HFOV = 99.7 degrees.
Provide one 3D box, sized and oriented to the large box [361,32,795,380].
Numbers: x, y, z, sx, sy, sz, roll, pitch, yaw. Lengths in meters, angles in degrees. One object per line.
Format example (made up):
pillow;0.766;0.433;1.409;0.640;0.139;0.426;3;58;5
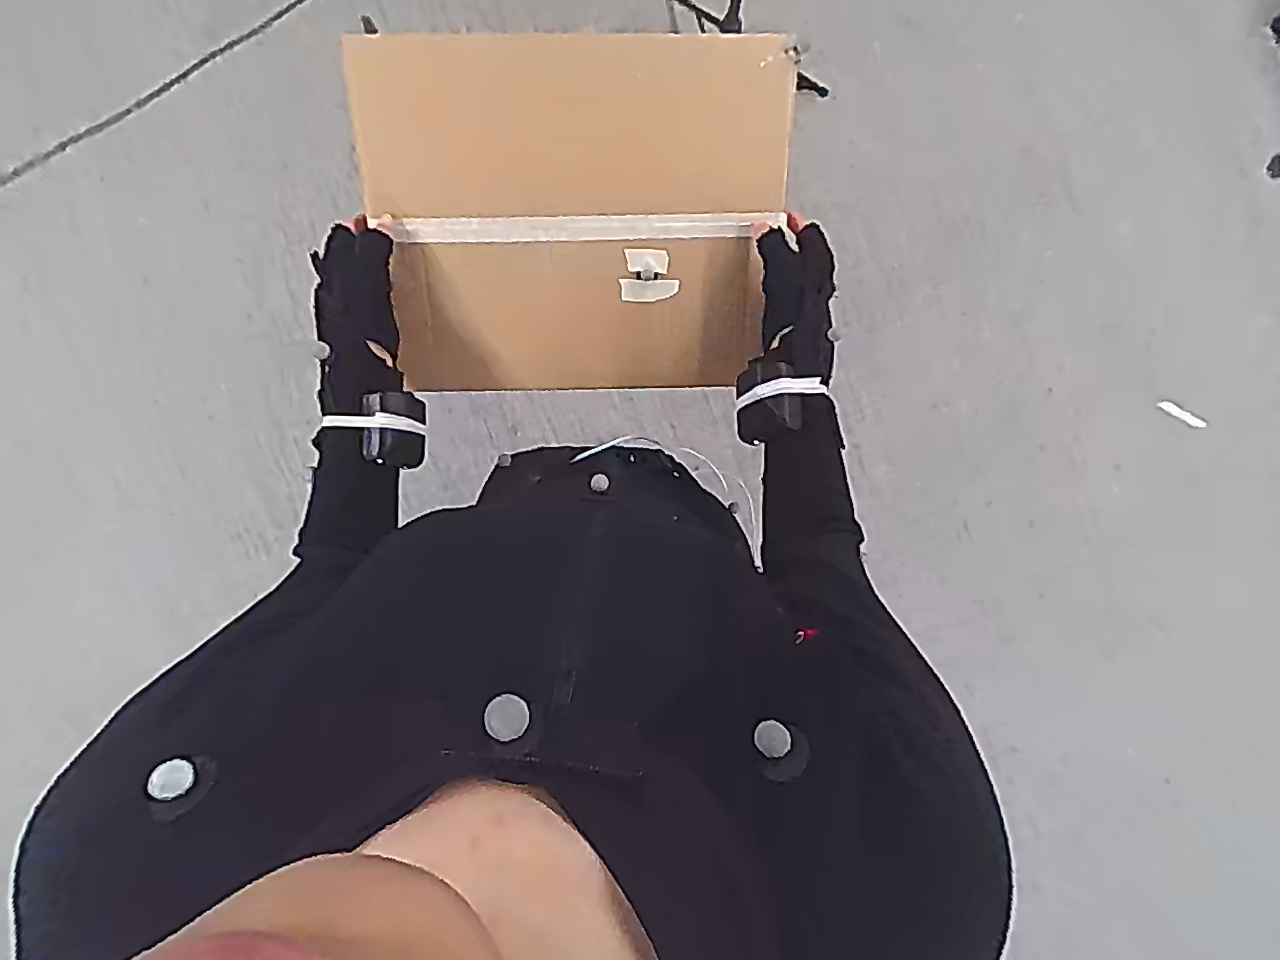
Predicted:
large box;-0.059;-0.302;0.676;0.408;0.320;0.320;0;108;-2
